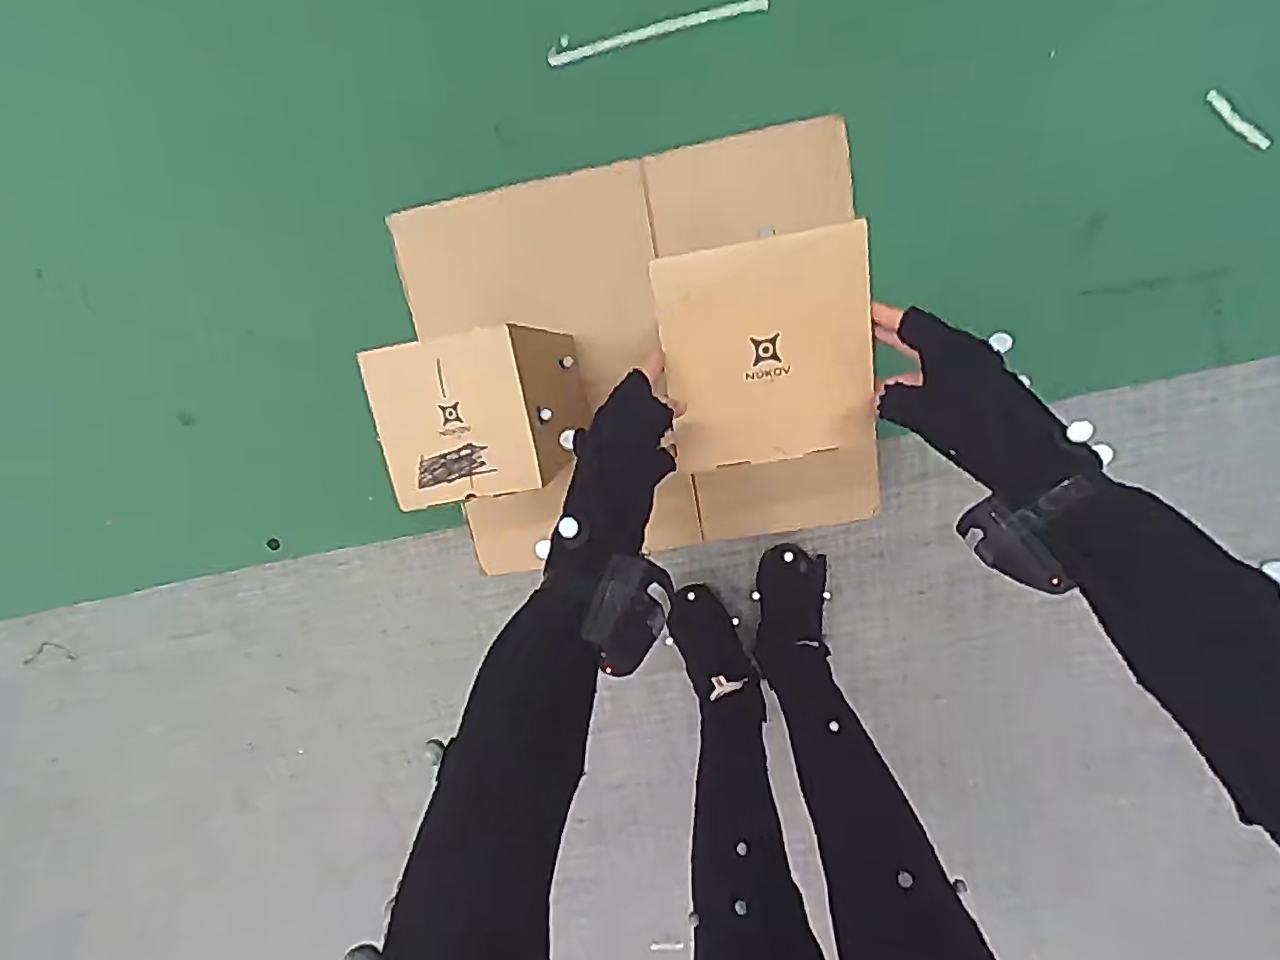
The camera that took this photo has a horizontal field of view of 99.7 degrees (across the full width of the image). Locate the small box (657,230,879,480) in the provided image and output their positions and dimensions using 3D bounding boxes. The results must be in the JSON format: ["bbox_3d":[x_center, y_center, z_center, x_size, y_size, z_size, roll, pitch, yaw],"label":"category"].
[{"bbox_3d":[0.108,-0.116,0.509,0.168,0.176,0.179,-9,107,6],"label":"small box"}]

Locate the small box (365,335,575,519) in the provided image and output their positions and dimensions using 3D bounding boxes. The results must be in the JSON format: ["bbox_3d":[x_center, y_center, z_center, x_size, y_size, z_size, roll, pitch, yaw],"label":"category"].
[{"bbox_3d":[-0.185,-0.069,0.644,0.168,0.176,0.179,-9,101,7],"label":"small box"}]

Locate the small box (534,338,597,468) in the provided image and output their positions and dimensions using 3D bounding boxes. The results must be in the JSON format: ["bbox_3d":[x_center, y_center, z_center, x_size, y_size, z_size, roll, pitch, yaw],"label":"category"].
[{"bbox_3d":[-0.170,-0.103,0.804,0.168,0.176,0.179,-11,102,8],"label":"small box"}]
